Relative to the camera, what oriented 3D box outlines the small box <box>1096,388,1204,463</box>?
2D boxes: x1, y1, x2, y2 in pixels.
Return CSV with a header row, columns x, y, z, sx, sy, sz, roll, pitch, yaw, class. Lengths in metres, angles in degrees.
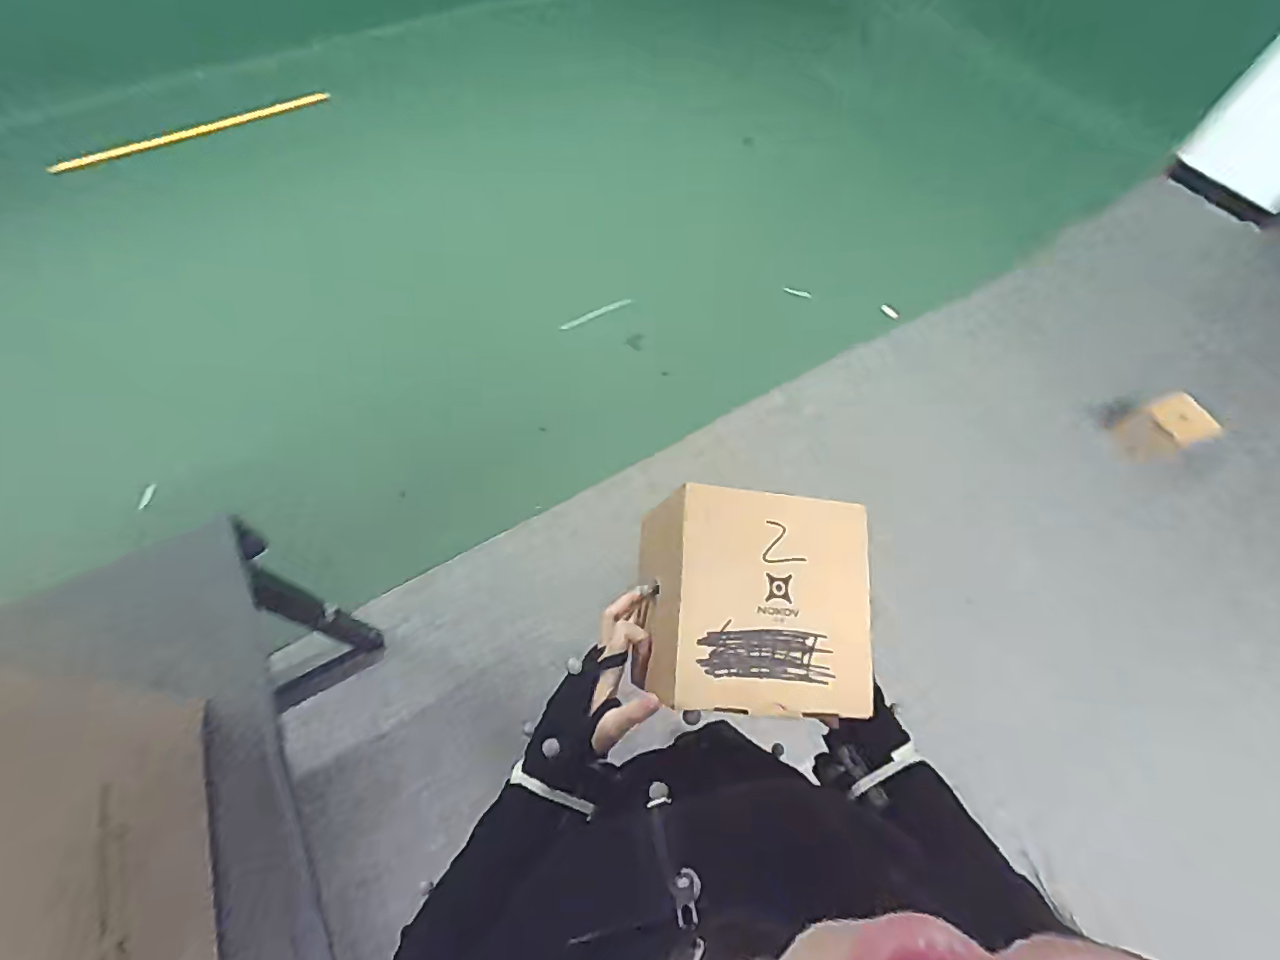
x,y,z,sx,sy,sz,roll,pitch,yaw,class
1.744,-0.184,1.860,0.179,0.176,0.168,-19,64,-11,small box
